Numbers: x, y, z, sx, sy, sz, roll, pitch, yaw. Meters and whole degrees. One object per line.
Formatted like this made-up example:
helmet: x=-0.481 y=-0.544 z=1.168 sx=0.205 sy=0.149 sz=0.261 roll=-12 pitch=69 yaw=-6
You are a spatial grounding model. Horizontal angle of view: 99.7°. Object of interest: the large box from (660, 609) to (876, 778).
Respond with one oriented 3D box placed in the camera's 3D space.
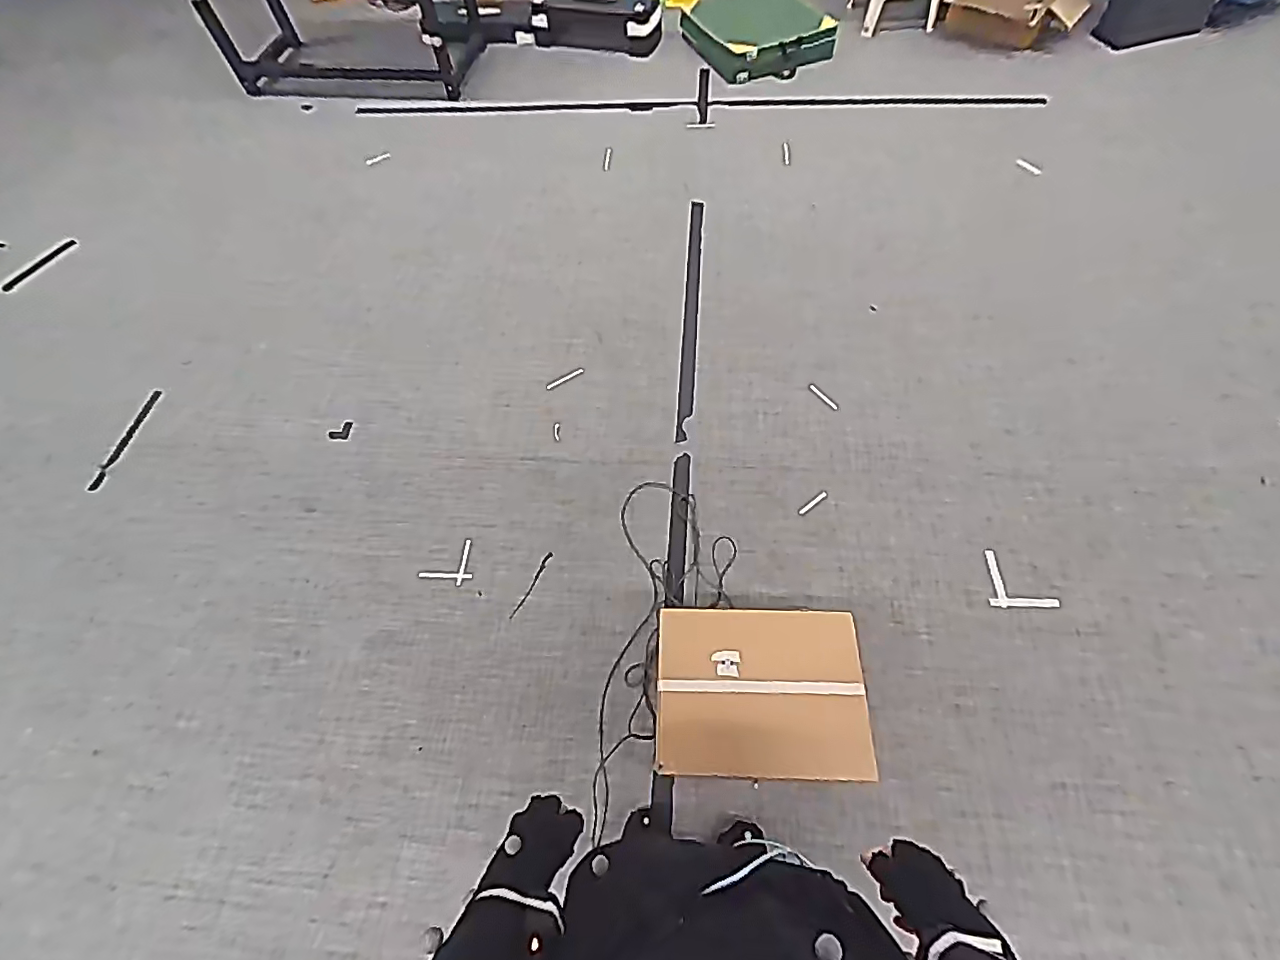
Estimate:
large box: x=0.251 y=0.482 z=1.202 sx=0.408 sy=0.320 sz=0.320 roll=0 pitch=60 yaw=4
